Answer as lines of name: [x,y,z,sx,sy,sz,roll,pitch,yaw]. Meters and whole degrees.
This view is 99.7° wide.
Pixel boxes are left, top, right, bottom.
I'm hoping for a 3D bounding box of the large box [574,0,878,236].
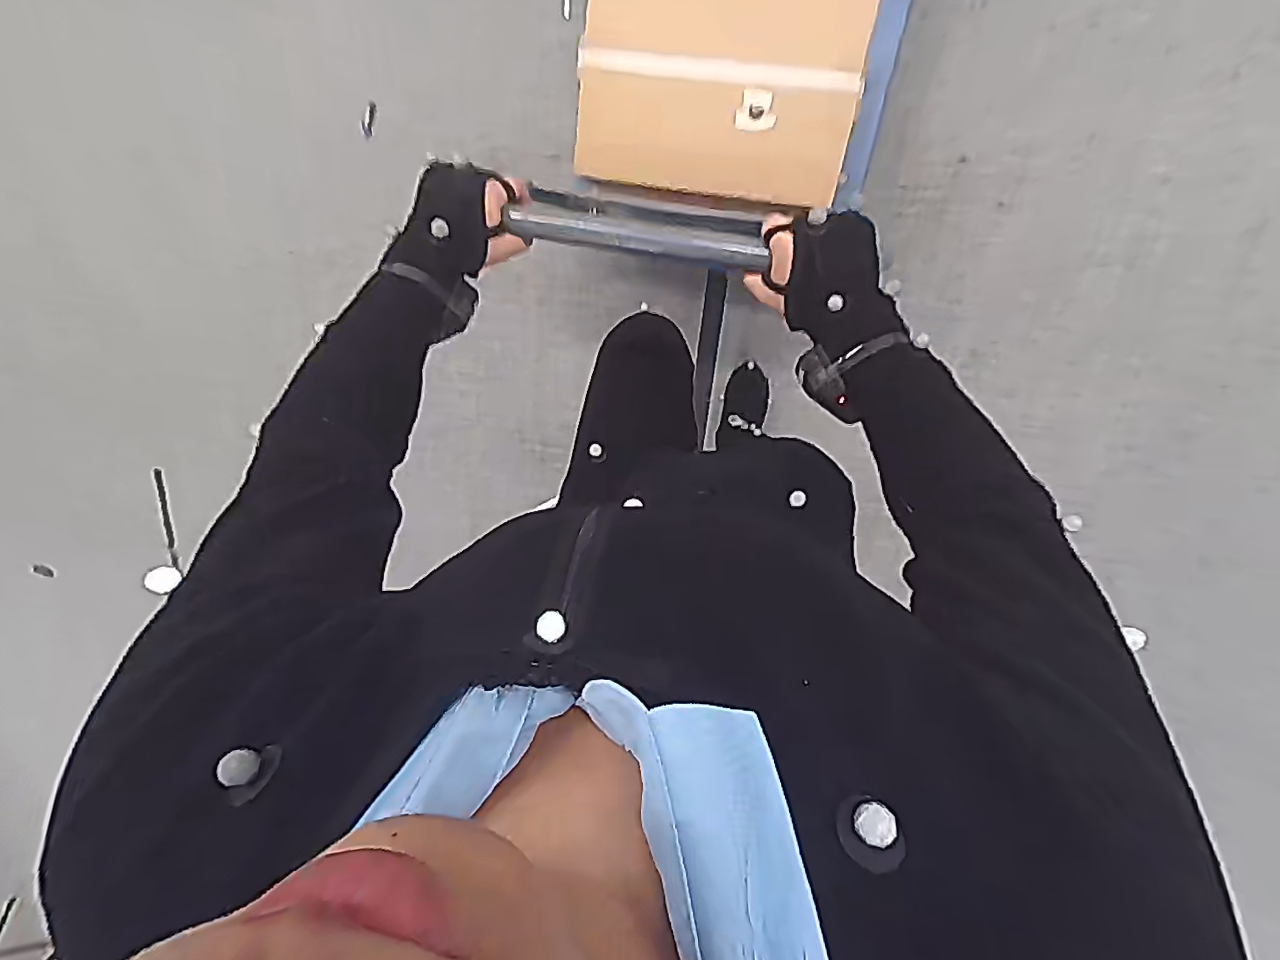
large box: [0.132,-0.618,0.913,0.408,0.320,0.320,11,111,7]
